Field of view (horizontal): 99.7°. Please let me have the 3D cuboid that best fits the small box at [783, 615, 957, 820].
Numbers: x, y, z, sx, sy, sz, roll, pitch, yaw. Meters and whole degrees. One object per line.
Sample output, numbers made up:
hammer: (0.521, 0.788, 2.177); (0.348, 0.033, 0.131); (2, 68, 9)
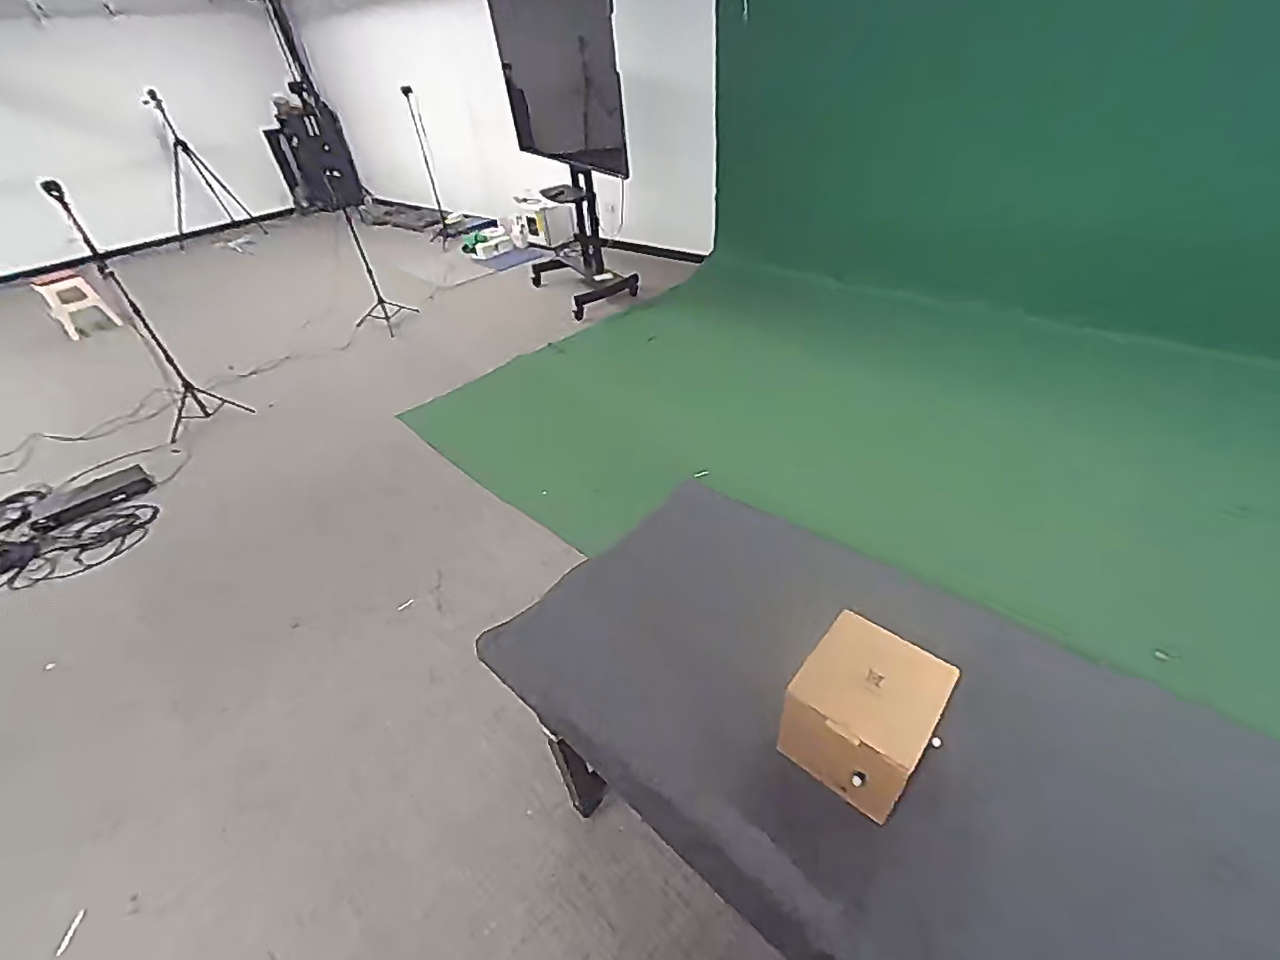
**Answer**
small box: (0.320, 0.340, 0.778); (0.168, 0.176, 0.179); (27, 48, 33)
